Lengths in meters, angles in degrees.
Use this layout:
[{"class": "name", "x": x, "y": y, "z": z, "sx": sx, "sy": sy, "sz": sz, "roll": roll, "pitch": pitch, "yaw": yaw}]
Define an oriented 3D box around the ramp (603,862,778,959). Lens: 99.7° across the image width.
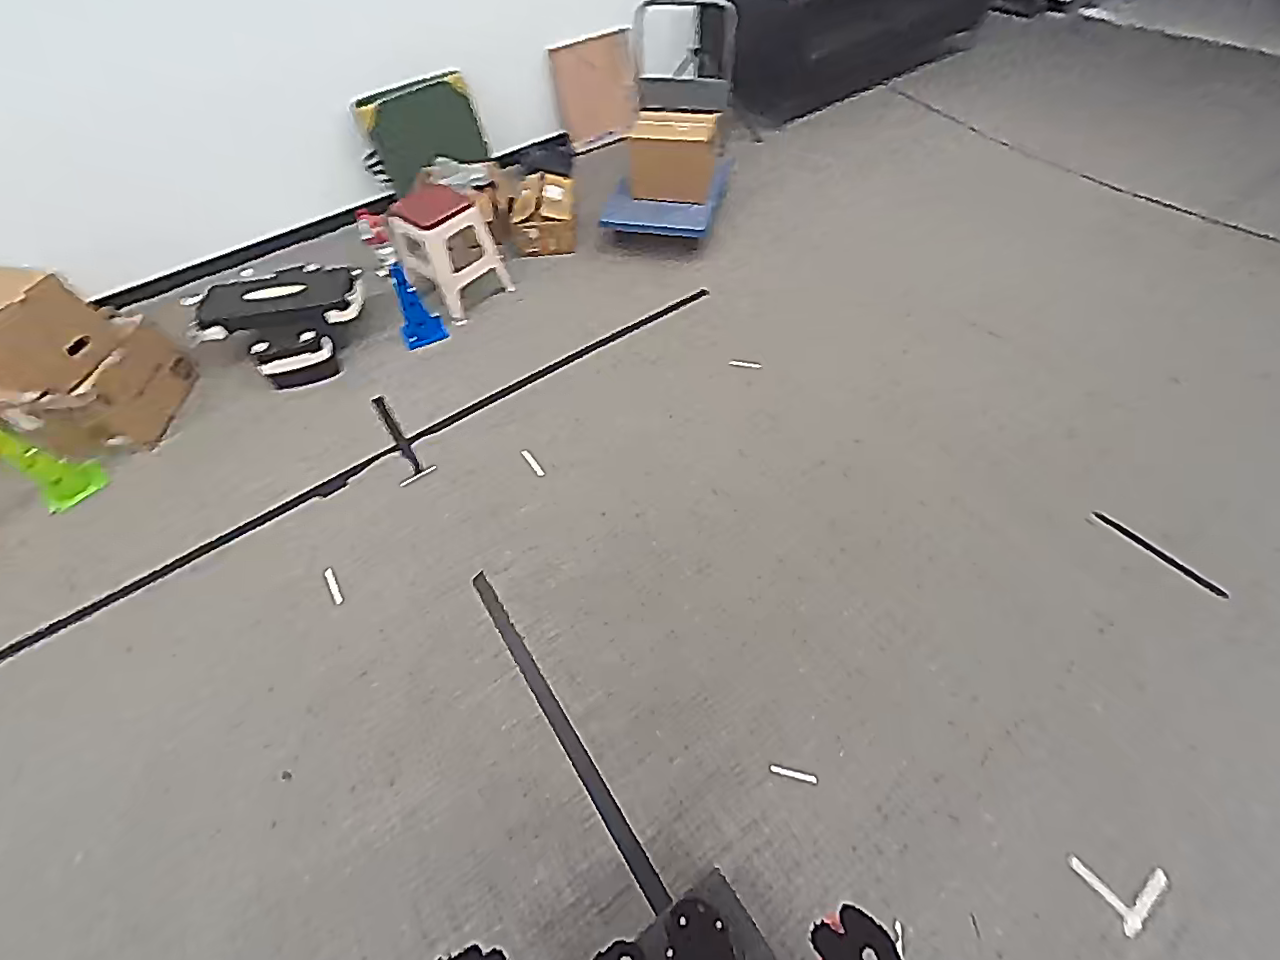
[{"class": "ramp", "x": 0.253, "y": 1.310, "z": 0.934, "sx": 0.509, "sy": 0.206, "sz": 0.991, "roll": -33, "pitch": 58, "yaw": -20}]
